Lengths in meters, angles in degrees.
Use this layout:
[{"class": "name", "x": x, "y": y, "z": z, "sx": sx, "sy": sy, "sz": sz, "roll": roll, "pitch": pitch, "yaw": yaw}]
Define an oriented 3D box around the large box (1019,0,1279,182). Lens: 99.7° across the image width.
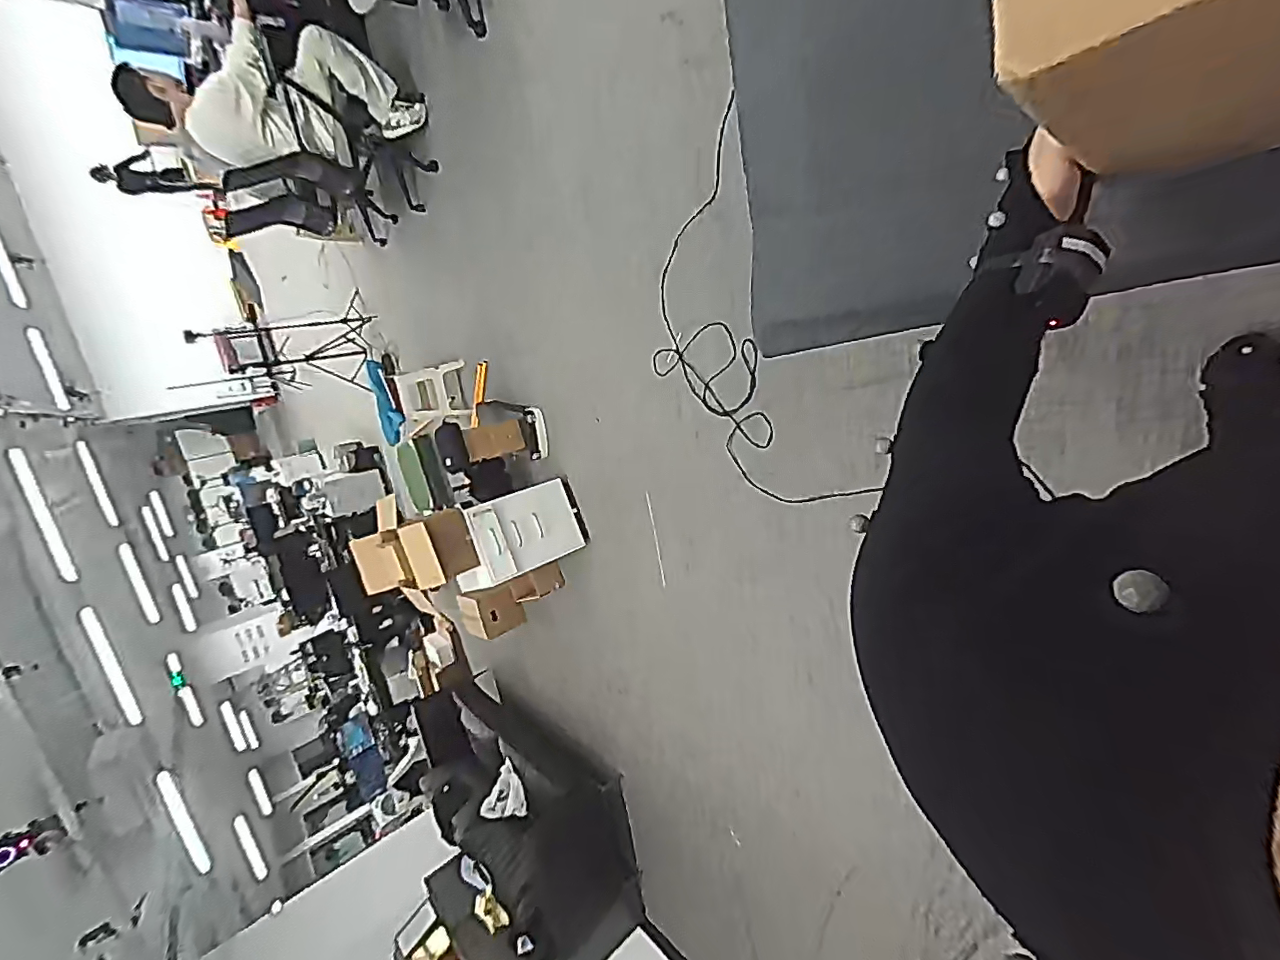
[{"class": "large box", "x": 0.443, "y": -0.403, "z": 0.244, "sx": 0.408, "sy": 0.320, "sz": 0.320, "roll": 1, "pitch": 99, "yaw": 49}]
